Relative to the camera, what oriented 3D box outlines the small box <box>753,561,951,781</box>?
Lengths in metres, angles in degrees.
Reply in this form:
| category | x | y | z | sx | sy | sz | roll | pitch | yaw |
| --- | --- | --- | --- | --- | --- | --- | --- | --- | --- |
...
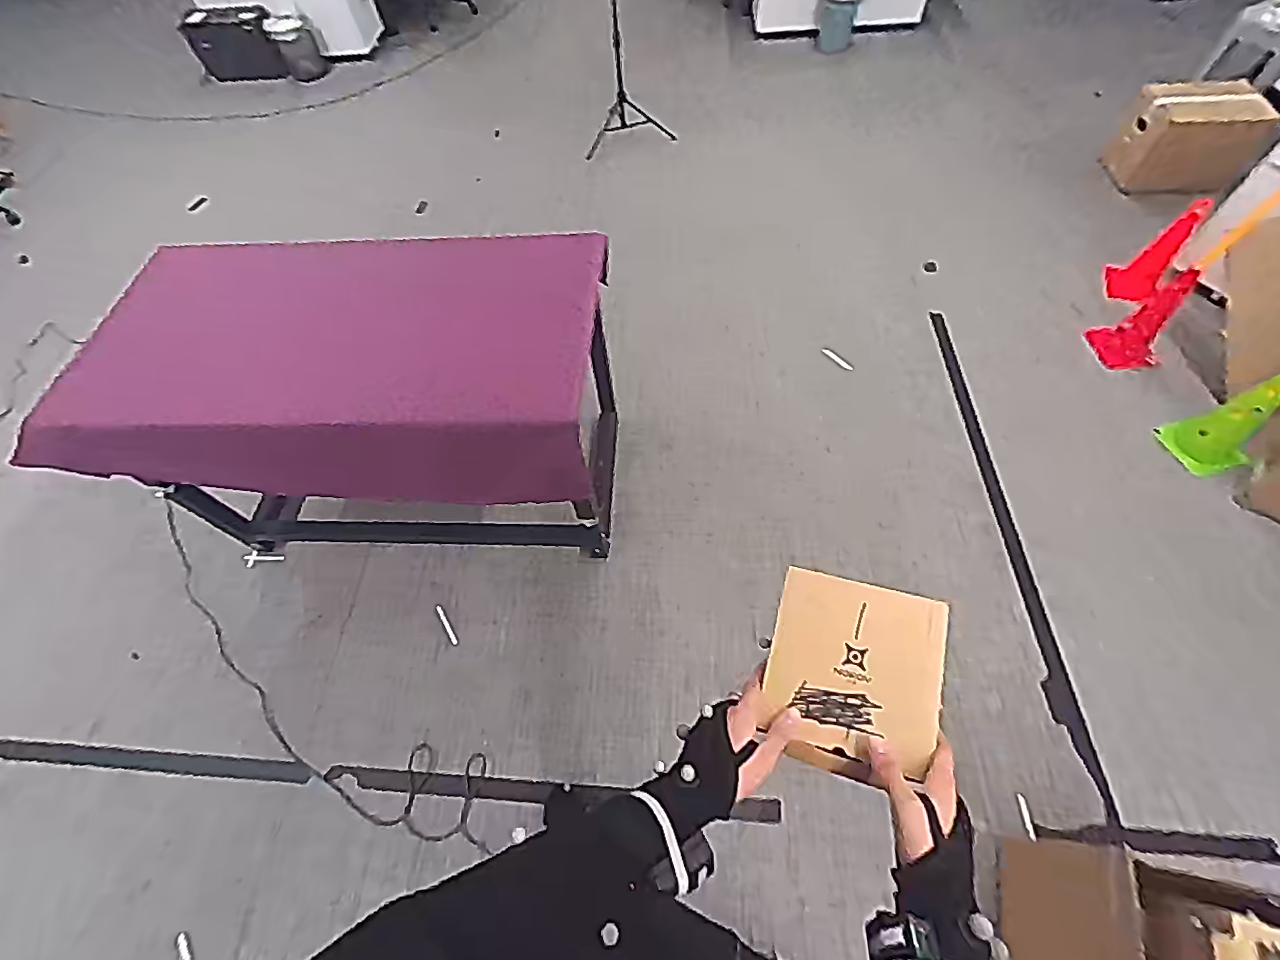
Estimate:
| category | x | y | z | sx | sy | sz | roll | pitch | yaw |
| --- | --- | --- | --- | --- | --- | --- | --- | --- | --- |
| small box | 0.230 | 0.215 | 0.610 | 0.168 | 0.176 | 0.179 | 11 | 67 | 17 |
